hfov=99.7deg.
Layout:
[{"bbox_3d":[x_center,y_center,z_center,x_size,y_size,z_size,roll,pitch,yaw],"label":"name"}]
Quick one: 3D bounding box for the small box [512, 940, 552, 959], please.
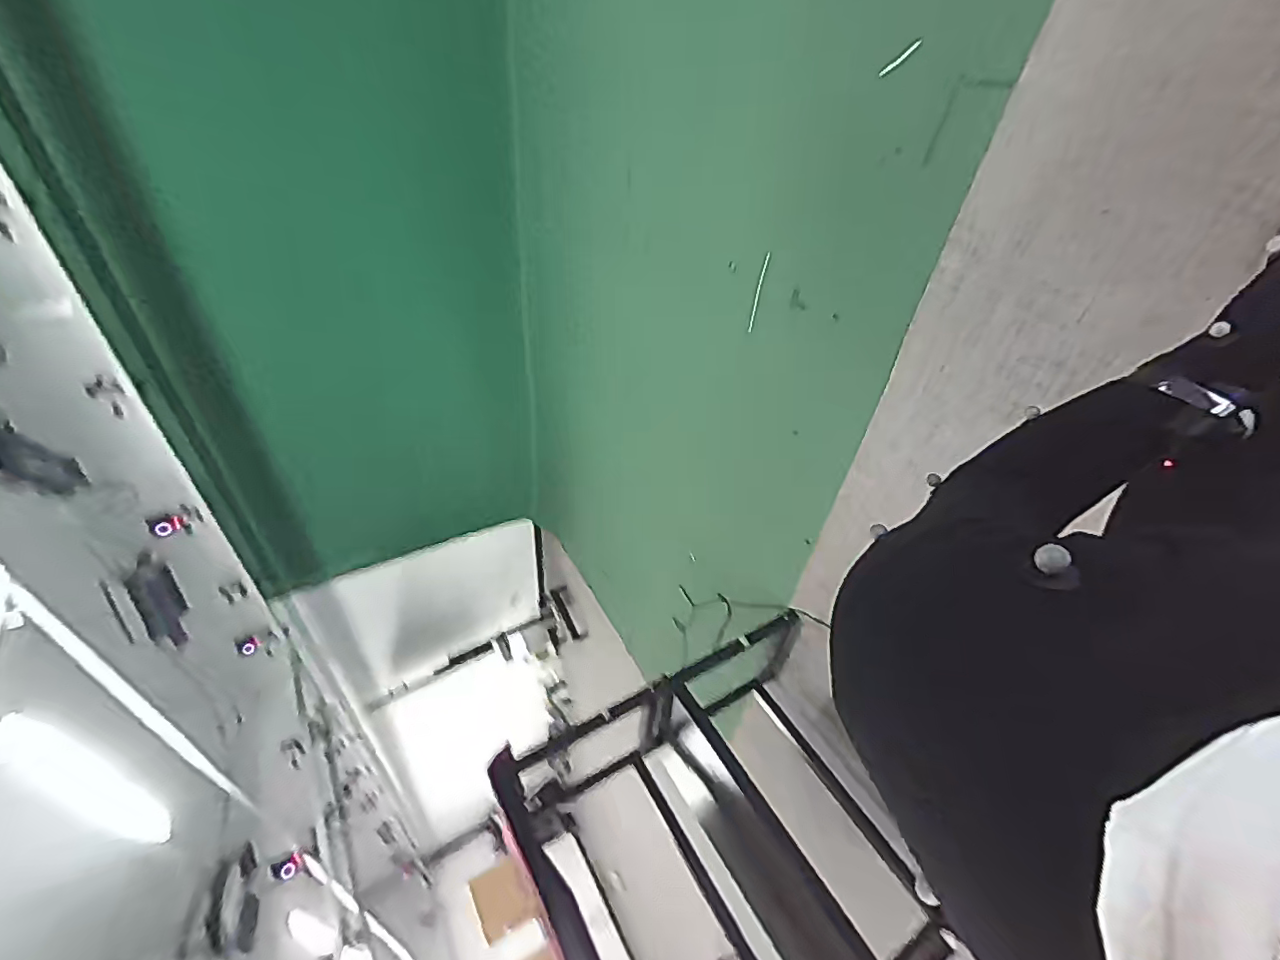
[{"bbox_3d":[-0.320,1.480,1.557,0.168,0.176,0.179,48,145,38],"label":"small box"}]
